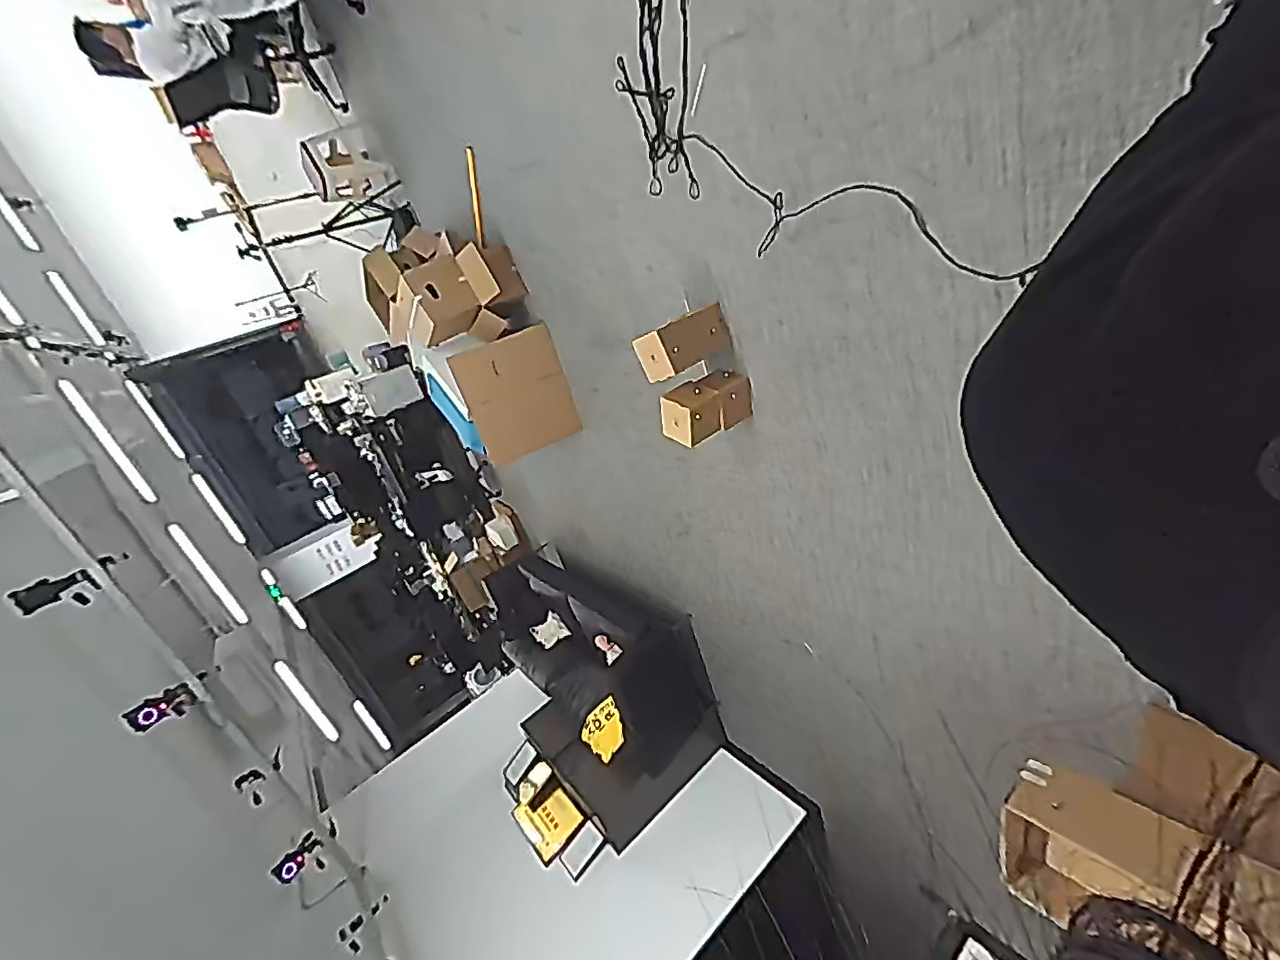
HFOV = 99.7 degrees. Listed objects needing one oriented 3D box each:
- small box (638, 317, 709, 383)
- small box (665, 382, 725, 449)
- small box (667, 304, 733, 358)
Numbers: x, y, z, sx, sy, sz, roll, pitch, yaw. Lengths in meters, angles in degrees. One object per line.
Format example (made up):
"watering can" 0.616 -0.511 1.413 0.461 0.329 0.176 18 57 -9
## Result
"small box" 0.130 -0.486 2.026 0.168 0.176 0.179 -3 116 58
"small box" 0.219 -0.257 2.117 0.168 0.176 0.179 33 142 40
"small box" 0.243 -0.570 2.109 0.179 0.176 0.168 6 123 57
